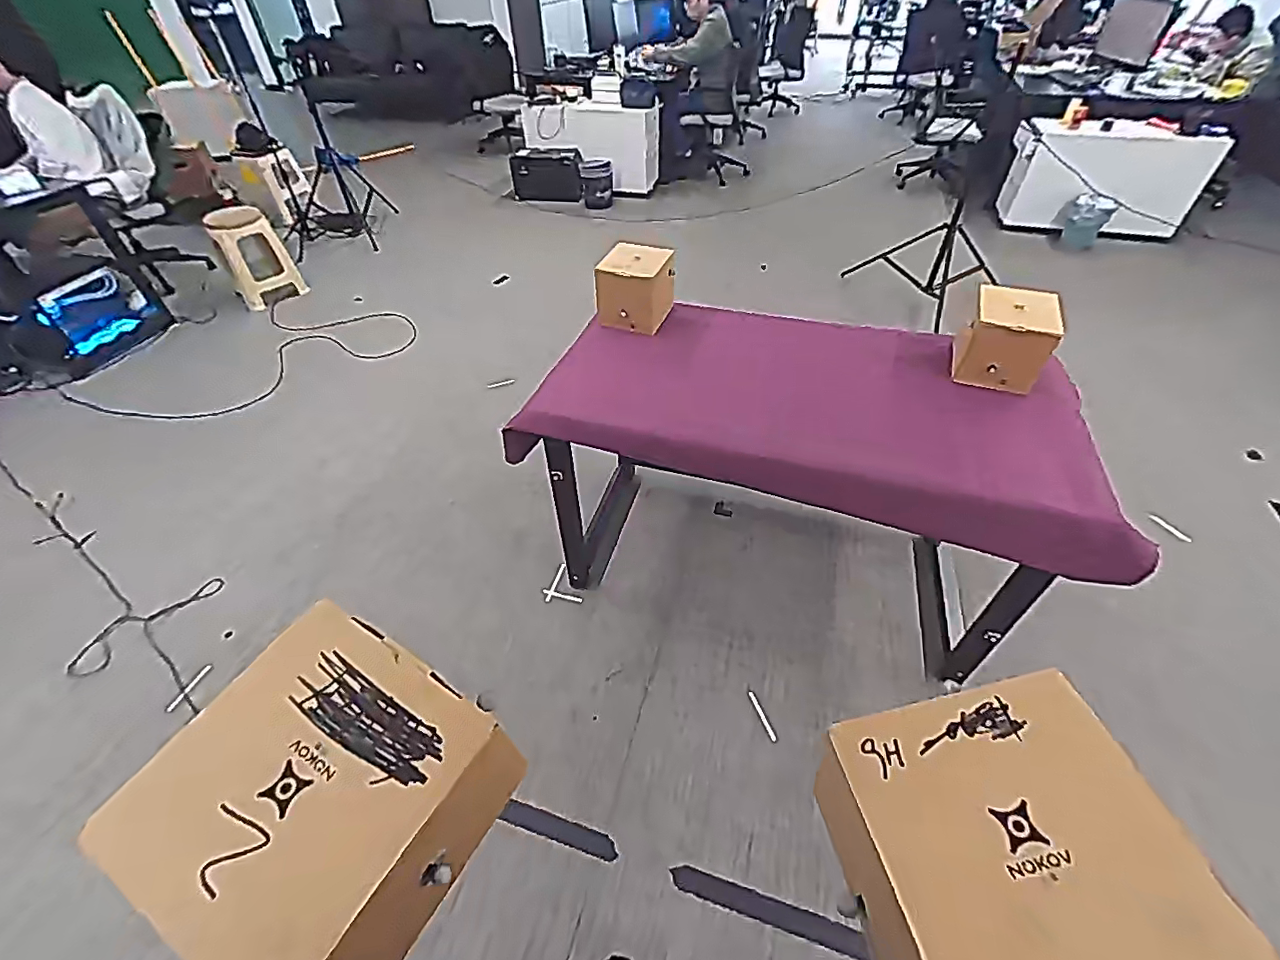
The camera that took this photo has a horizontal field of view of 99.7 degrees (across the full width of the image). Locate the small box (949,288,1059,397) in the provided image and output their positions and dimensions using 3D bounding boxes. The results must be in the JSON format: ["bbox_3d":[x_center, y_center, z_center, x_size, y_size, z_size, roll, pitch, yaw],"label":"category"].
[{"bbox_3d":[0.858,-0.328,1.292,0.168,0.176,0.179,15,51,16],"label":"small box"}]

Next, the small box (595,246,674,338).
[{"bbox_3d":[-0.012,-0.523,1.501,0.168,0.176,0.179,15,49,15],"label":"small box"}]

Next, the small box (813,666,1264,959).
[{"bbox_3d":[0.233,0.261,0.375,0.168,0.176,0.179,-14,47,0],"label":"small box"}]
